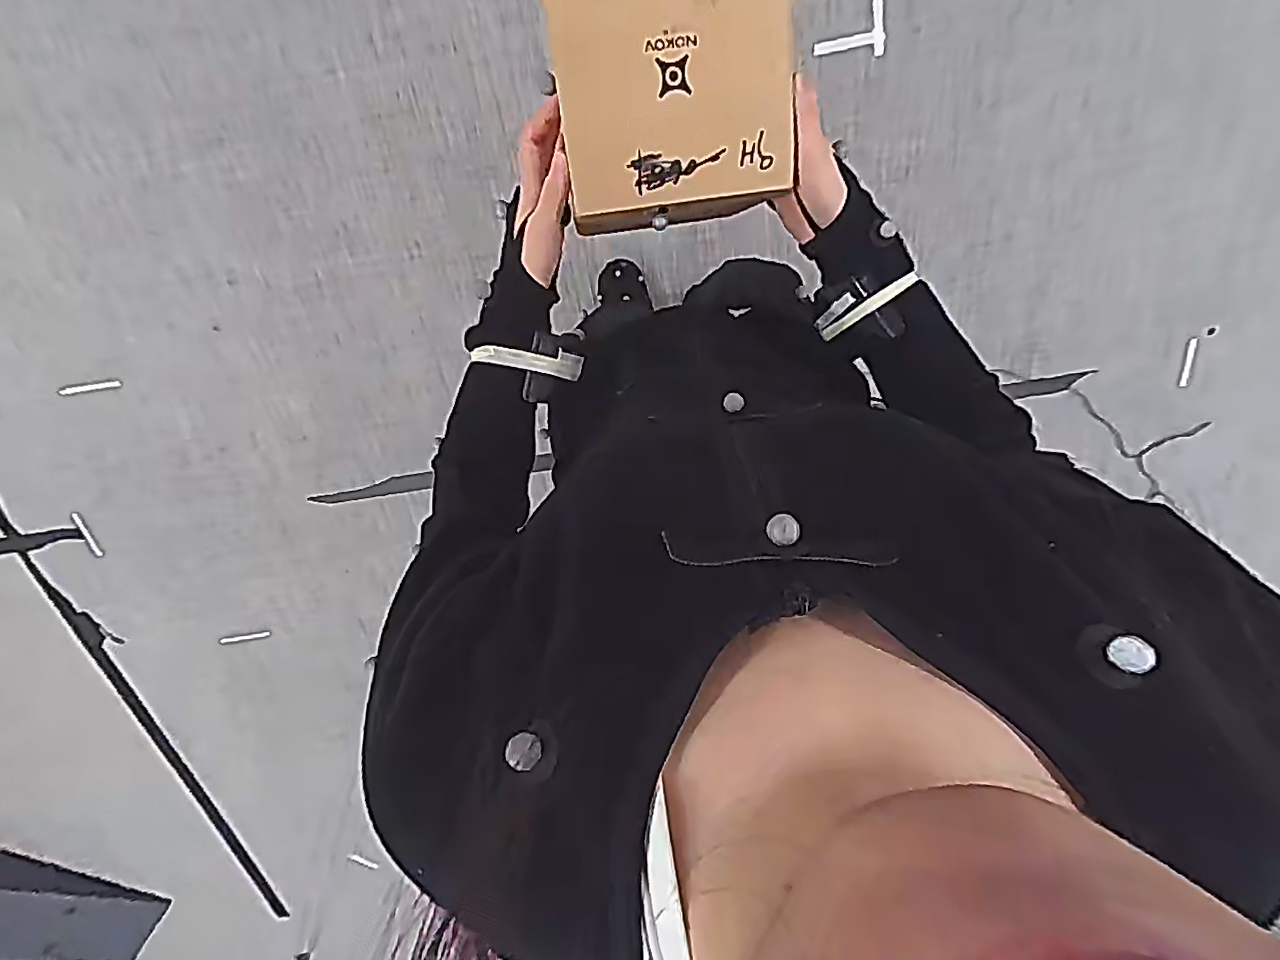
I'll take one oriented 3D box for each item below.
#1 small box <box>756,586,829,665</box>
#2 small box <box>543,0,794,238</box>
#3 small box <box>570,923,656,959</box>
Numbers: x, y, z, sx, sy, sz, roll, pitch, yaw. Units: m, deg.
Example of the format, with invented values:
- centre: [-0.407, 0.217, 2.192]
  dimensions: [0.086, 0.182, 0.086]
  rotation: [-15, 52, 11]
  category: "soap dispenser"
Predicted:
- centre: [0.471, 0.448, 1.685]
  dimensions: [0.179, 0.176, 0.168]
  rotation: [-7, 112, 0]
  category: "small box"
- centre: [0.014, -0.309, 0.442]
  dimensions: [0.168, 0.176, 0.179]
  rotation: [-9, 110, -3]
  category: "small box"
- centre: [-0.052, 1.062, 1.114]
  dimensions: [0.179, 0.176, 0.168]
  rotation: [-8, 114, -1]
  category: "small box"
